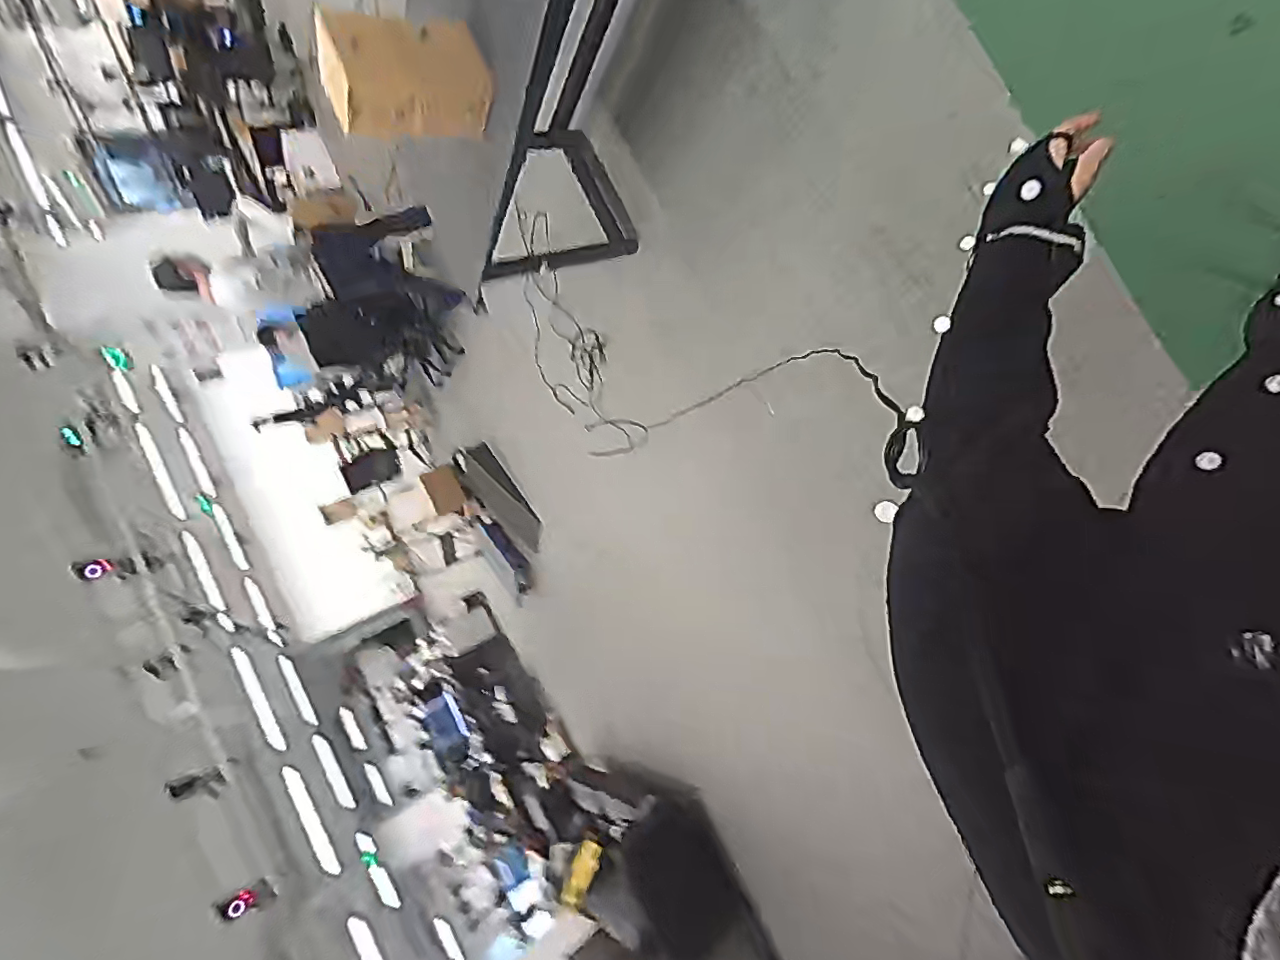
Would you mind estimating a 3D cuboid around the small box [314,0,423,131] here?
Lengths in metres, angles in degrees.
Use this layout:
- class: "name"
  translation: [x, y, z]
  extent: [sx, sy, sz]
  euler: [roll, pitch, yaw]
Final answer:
- class: "small box"
  translation: [-0.615, -0.931, 1.230]
  extent: [0.179, 0.176, 0.168]
  euler: [64, 149, 4]

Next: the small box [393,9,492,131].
- class: "small box"
  translation: [-0.484, -0.983, 1.311]
  extent: [0.179, 0.176, 0.168]
  euler: [64, 150, 4]
